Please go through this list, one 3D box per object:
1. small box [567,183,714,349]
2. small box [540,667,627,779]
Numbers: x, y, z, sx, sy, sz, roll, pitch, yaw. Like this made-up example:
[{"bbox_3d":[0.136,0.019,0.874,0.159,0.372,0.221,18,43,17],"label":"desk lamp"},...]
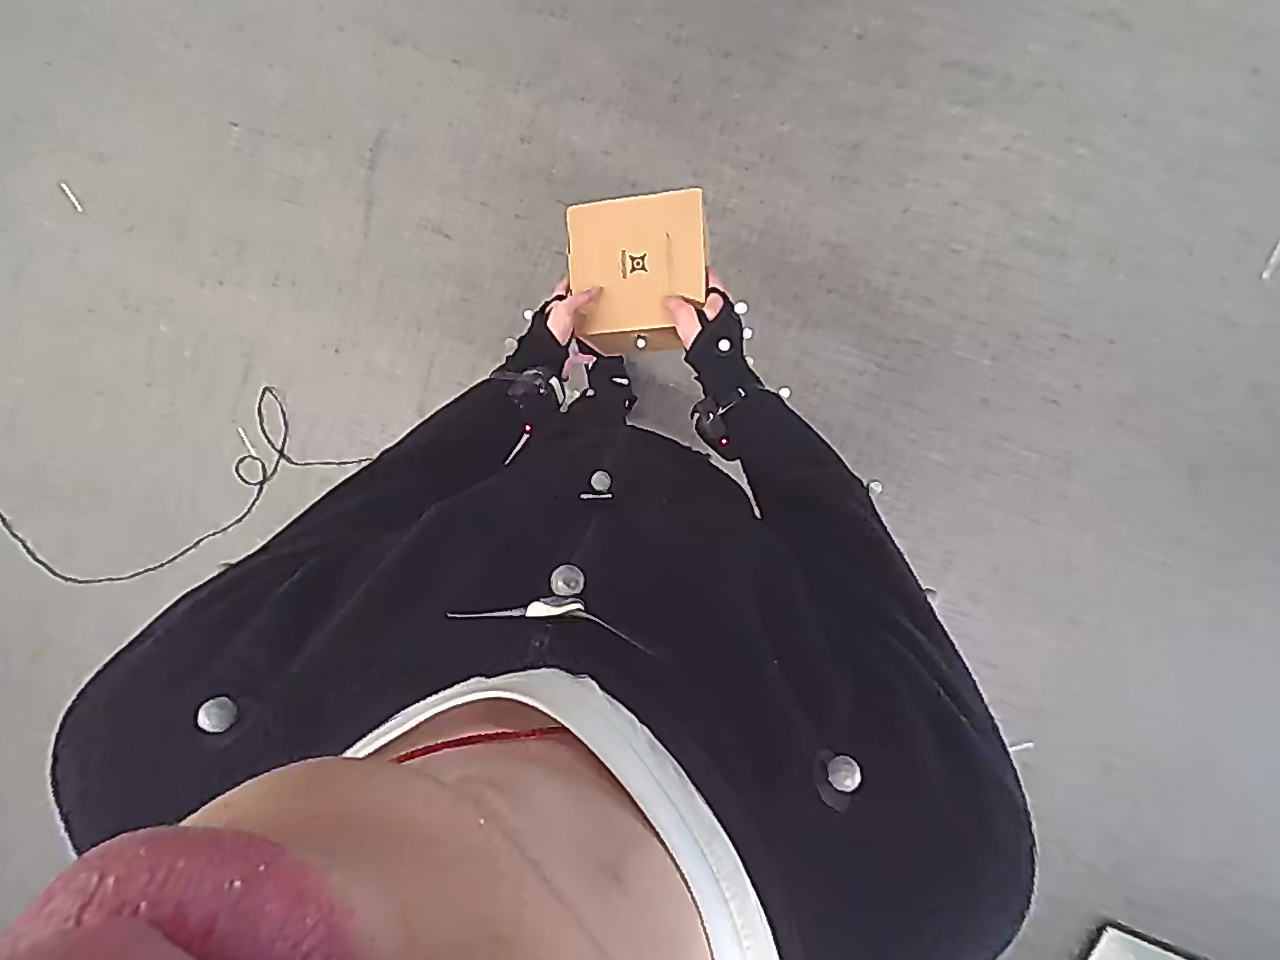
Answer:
[{"bbox_3d":[0.009,-0.285,0.760,0.179,0.176,0.168,-4,94,9],"label":"small box"},{"bbox_3d":[-0.139,0.623,1.403,0.168,0.176,0.179,19,99,1],"label":"small box"}]
